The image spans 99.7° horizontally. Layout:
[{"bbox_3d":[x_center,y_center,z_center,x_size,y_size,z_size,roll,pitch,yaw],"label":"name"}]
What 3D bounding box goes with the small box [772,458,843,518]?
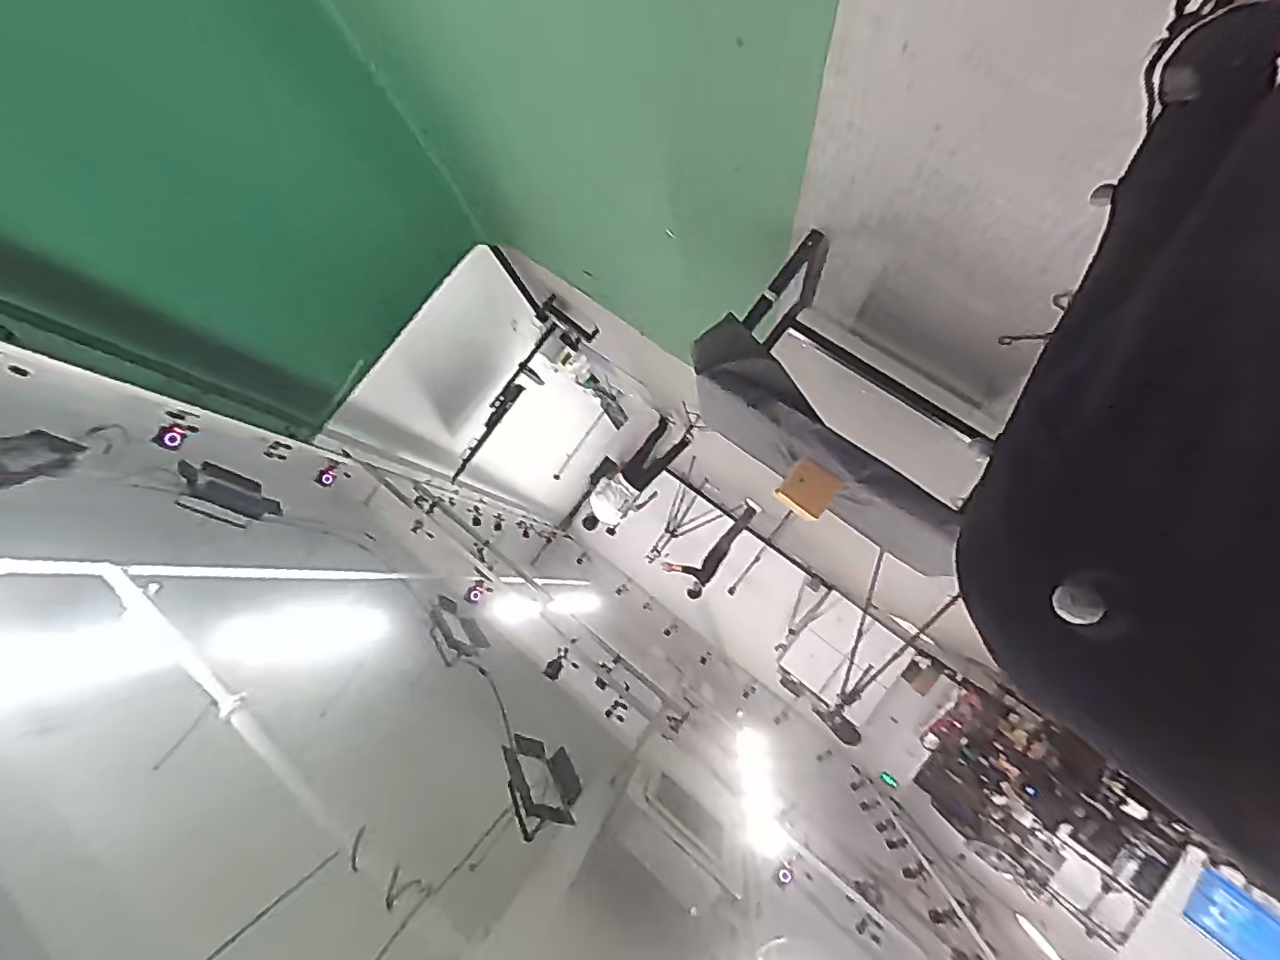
[{"bbox_3d":[0.641,0.028,2.072,0.179,0.176,0.168,37,178,6],"label":"small box"}]
